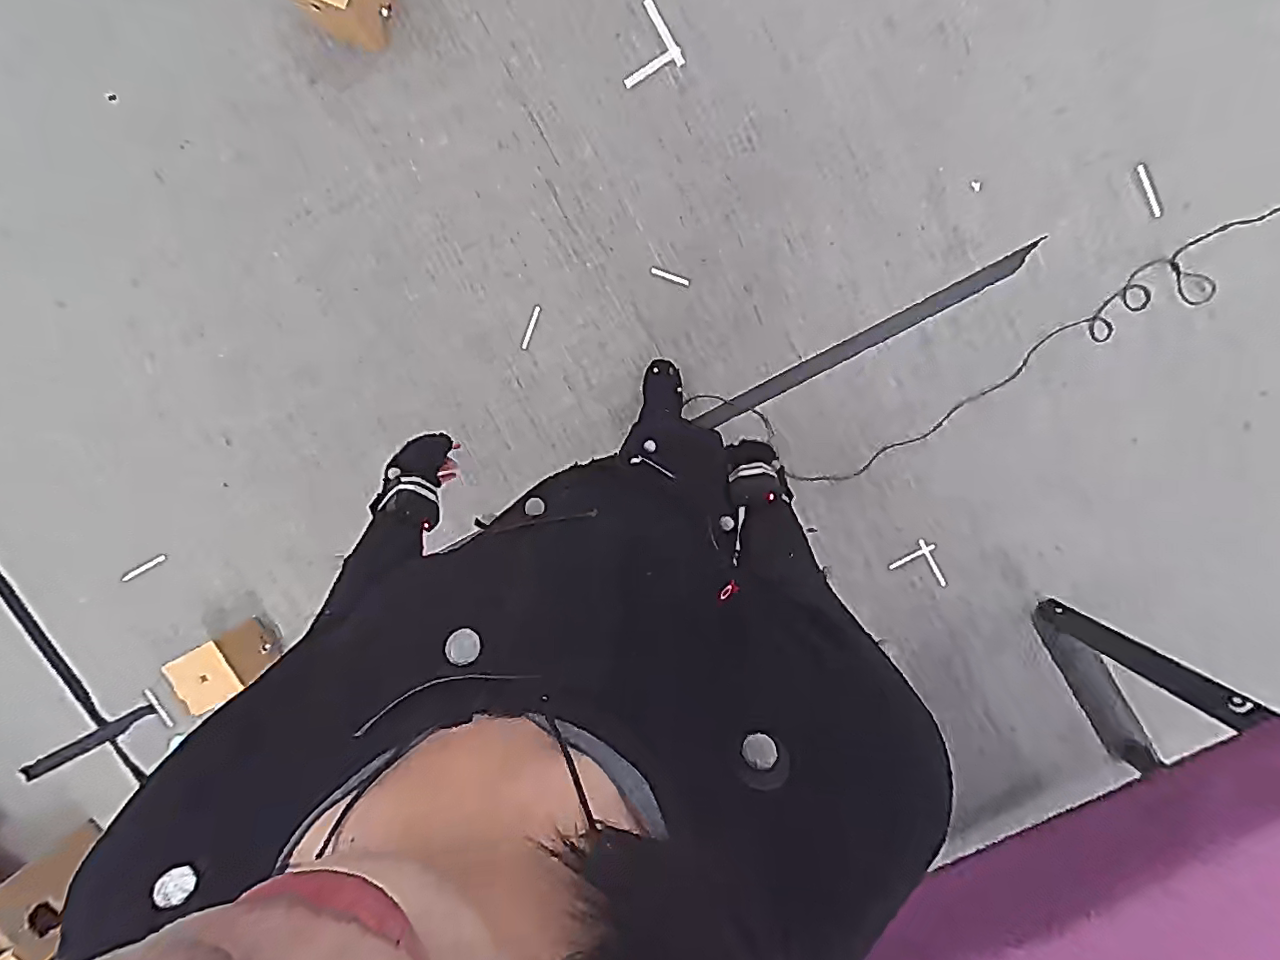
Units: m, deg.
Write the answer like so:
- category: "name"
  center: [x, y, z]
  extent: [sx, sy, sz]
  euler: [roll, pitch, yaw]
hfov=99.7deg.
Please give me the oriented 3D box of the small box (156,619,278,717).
- category: "small box"
  center: [-1.186, 0.524, 1.529]
  extent: [0.179, 0.176, 0.168]
  euler: [-28, 97, 4]

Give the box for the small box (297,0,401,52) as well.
- category: "small box"
  center: [-0.707, -1.174, 1.283]
  extent: [0.179, 0.176, 0.168]
  euler: [22, 98, -3]
